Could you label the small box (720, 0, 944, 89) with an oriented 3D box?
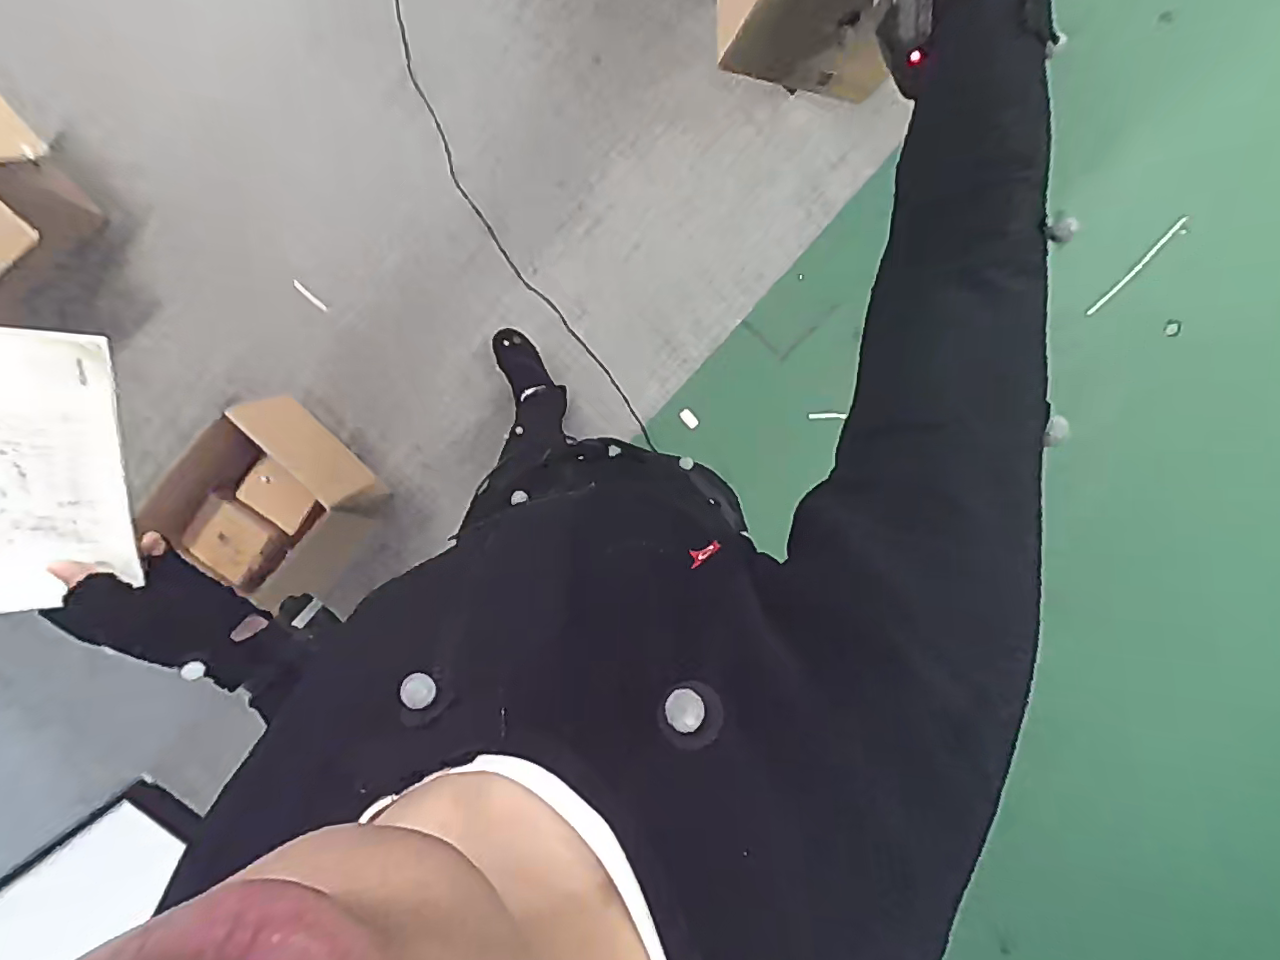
[{"bbox_3d":[0.174,-0.476,0.449,0.168,0.176,0.179,0,89,-18],"label":"small box"}]
